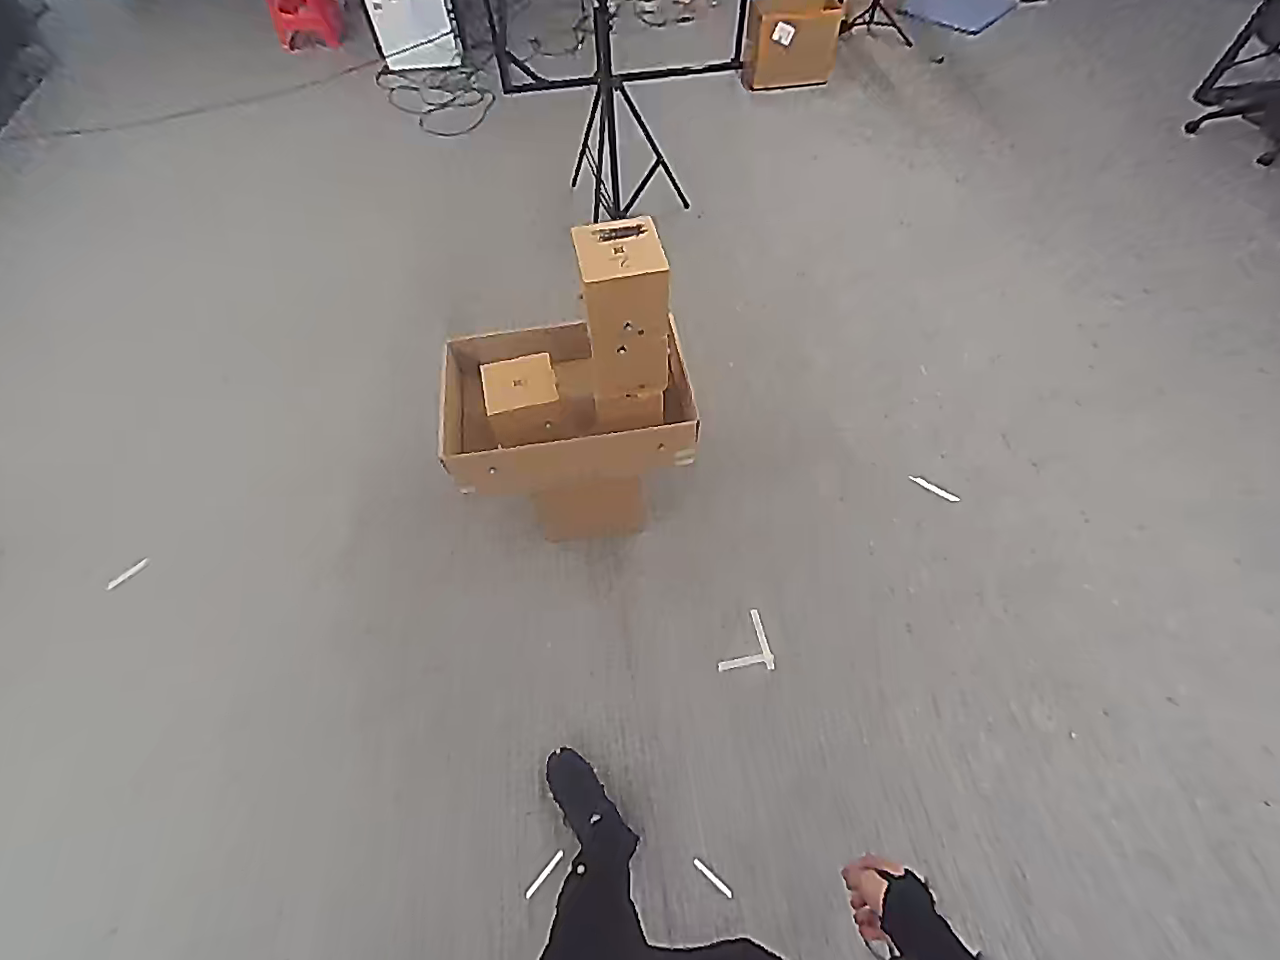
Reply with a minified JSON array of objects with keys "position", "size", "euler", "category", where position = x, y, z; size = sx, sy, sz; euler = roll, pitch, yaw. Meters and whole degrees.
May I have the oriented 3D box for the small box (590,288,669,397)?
[{"position":[-0.025,-0.316,1.249],"size":[0.168,0.176,0.179],"euler":[-6,58,-1],"category":"small box"}]
